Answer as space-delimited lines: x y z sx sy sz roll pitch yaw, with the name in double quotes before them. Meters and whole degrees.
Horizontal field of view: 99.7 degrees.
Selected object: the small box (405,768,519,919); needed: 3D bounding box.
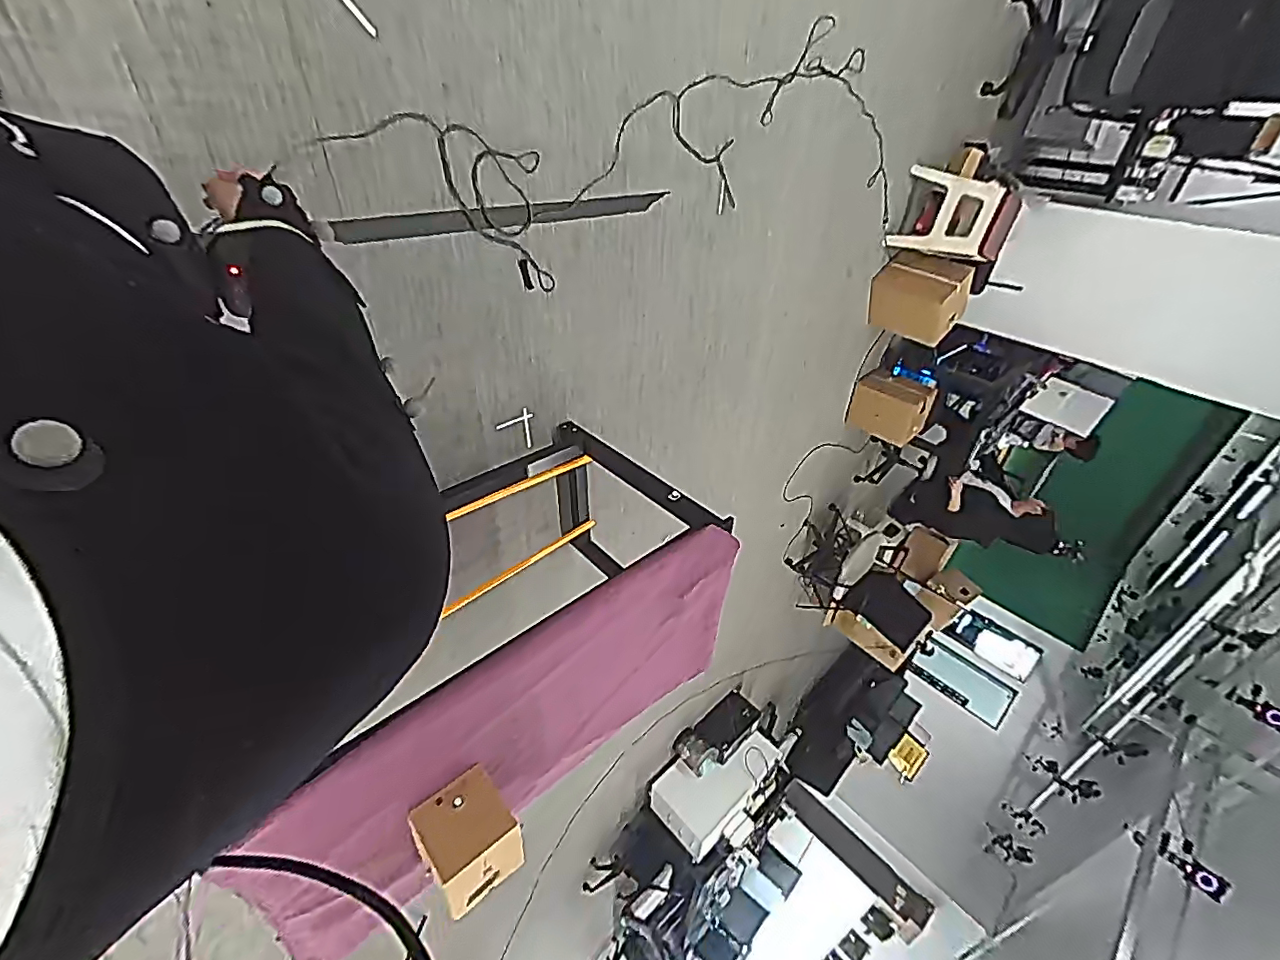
"small box" -0.371 0.753 1.136 0.168 0.176 0.179 -25 134 -37
